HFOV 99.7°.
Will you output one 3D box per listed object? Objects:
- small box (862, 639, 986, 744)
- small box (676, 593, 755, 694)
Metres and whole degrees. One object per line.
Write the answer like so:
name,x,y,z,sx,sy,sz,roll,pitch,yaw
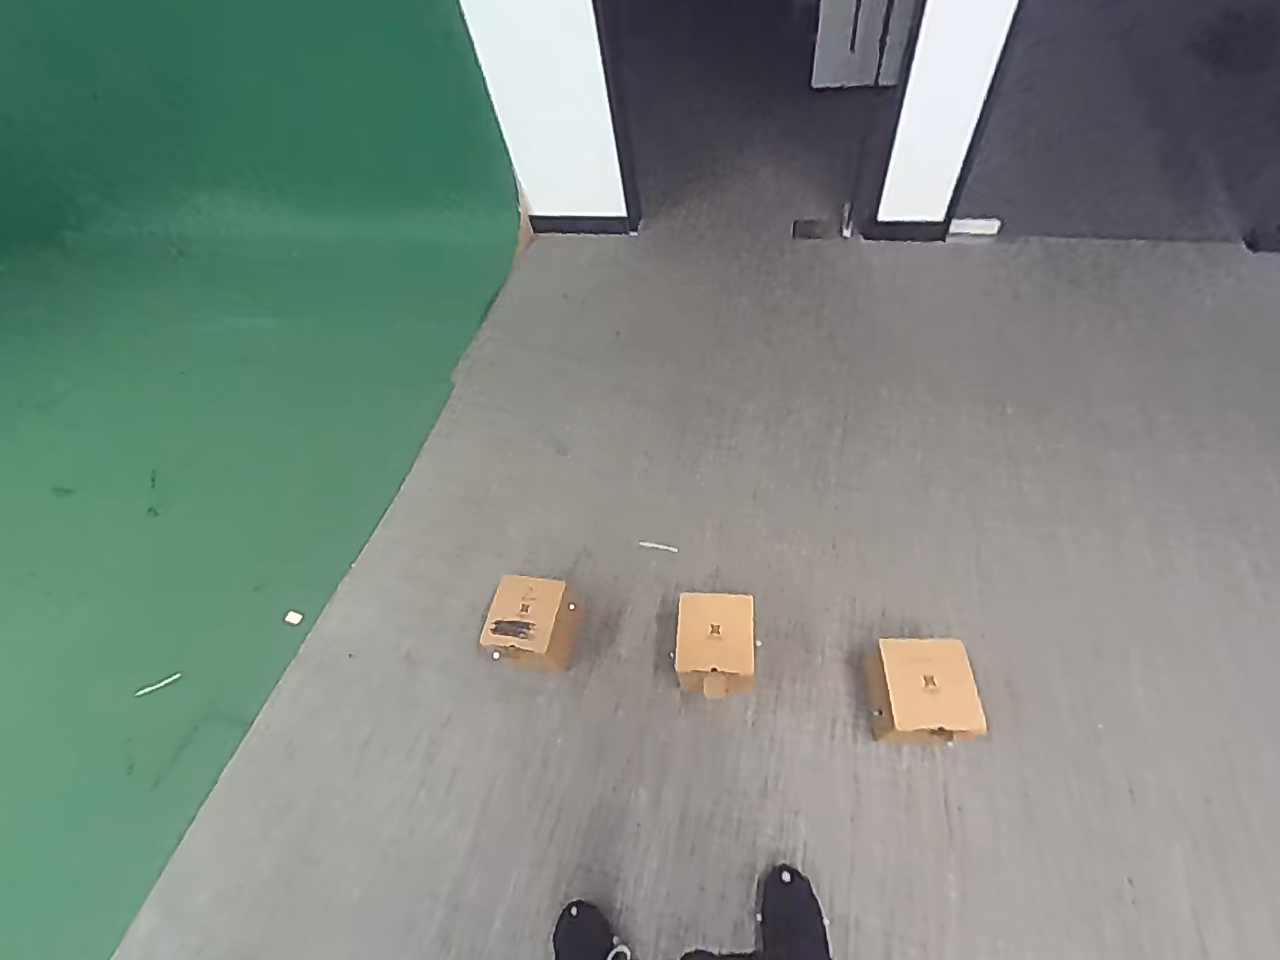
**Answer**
small box,0.573,0.440,1.117,0.168,0.176,0.179,-2,55,7
small box,0.173,0.372,1.228,0.168,0.176,0.179,0,57,9
